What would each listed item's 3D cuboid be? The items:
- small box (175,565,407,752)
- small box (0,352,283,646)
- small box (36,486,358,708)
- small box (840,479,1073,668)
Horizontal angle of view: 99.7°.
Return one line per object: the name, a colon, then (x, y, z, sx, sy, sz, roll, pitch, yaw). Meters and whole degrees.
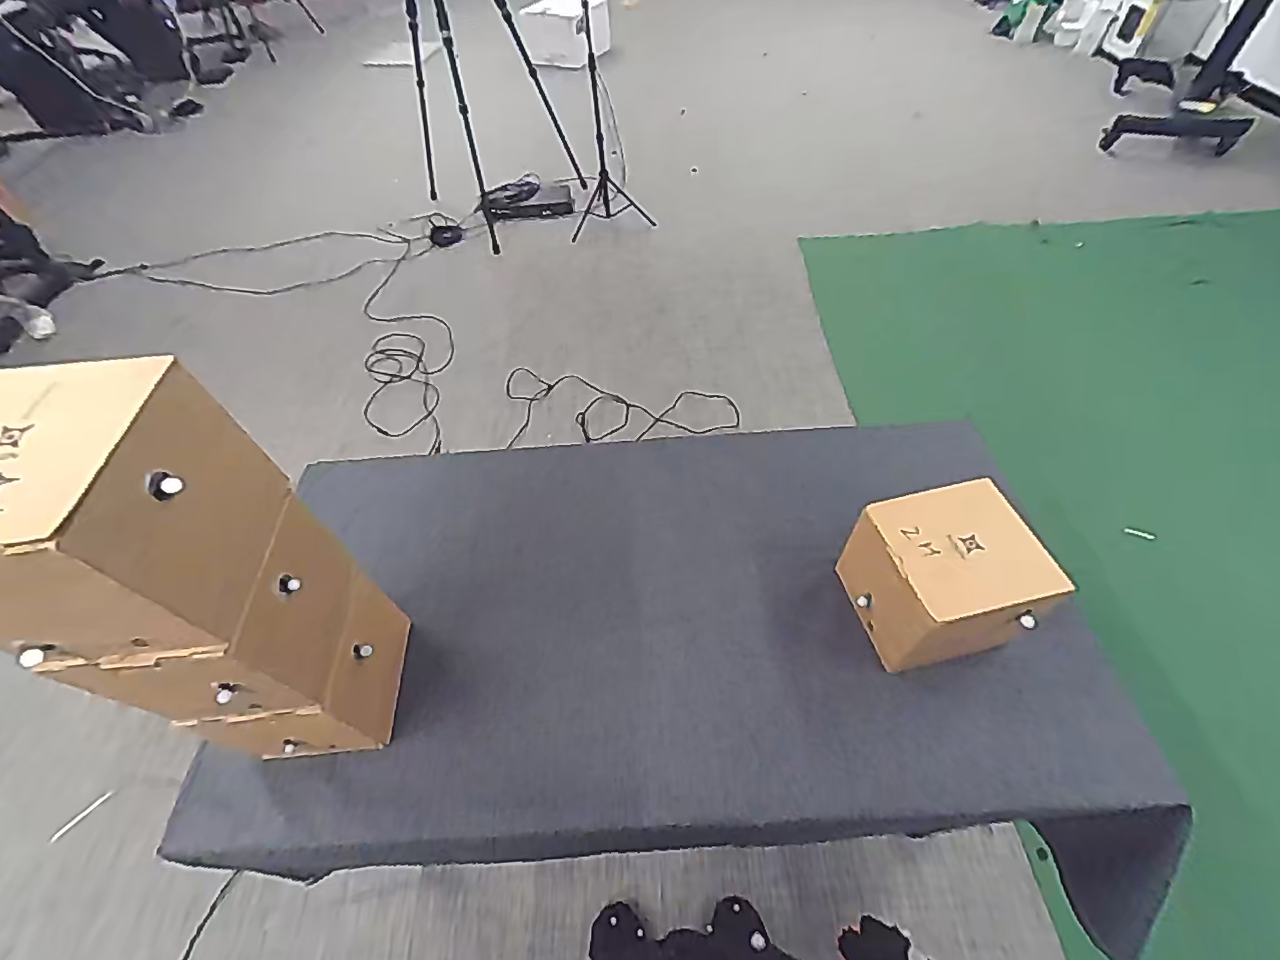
small box: (-0.418, 0.230, 0.690, 0.168, 0.176, 0.179, -5, 53, -1)
small box: (-0.432, 0.023, 0.437, 0.168, 0.176, 0.179, -5, 52, -2)
small box: (-0.424, 0.128, 0.562, 0.168, 0.176, 0.179, -4, 53, -1)
small box: (0.391, 0.126, 0.708, 0.179, 0.176, 0.168, -12, 53, -4)
